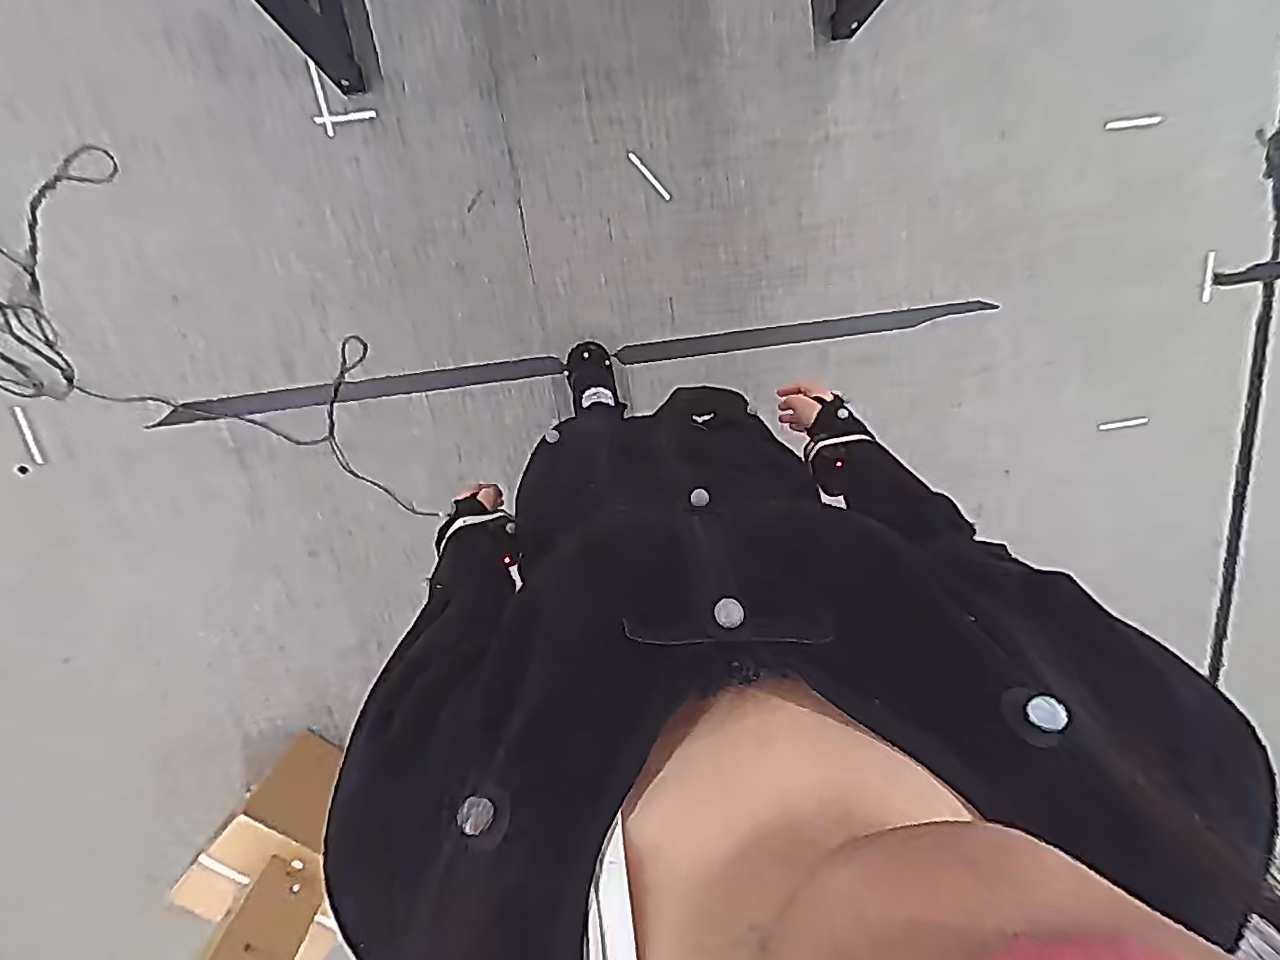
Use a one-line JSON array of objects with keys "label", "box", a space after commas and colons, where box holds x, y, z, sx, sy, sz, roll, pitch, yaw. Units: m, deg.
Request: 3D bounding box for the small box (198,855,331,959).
[{"label": "small box", "box": [-0.864, 1.034, 1.257, 0.168, 0.176, 0.179, 39, 96, -13]}]

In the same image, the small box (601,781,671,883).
[{"label": "small box", "box": [-0.016, 1.072, 1.657, 0.168, 0.176, 0.179, -19, 104, -3]}]

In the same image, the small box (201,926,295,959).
[{"label": "small box", "box": [-0.851, 1.074, 1.099, 0.168, 0.176, 0.179, 39, 98, -13]}]
